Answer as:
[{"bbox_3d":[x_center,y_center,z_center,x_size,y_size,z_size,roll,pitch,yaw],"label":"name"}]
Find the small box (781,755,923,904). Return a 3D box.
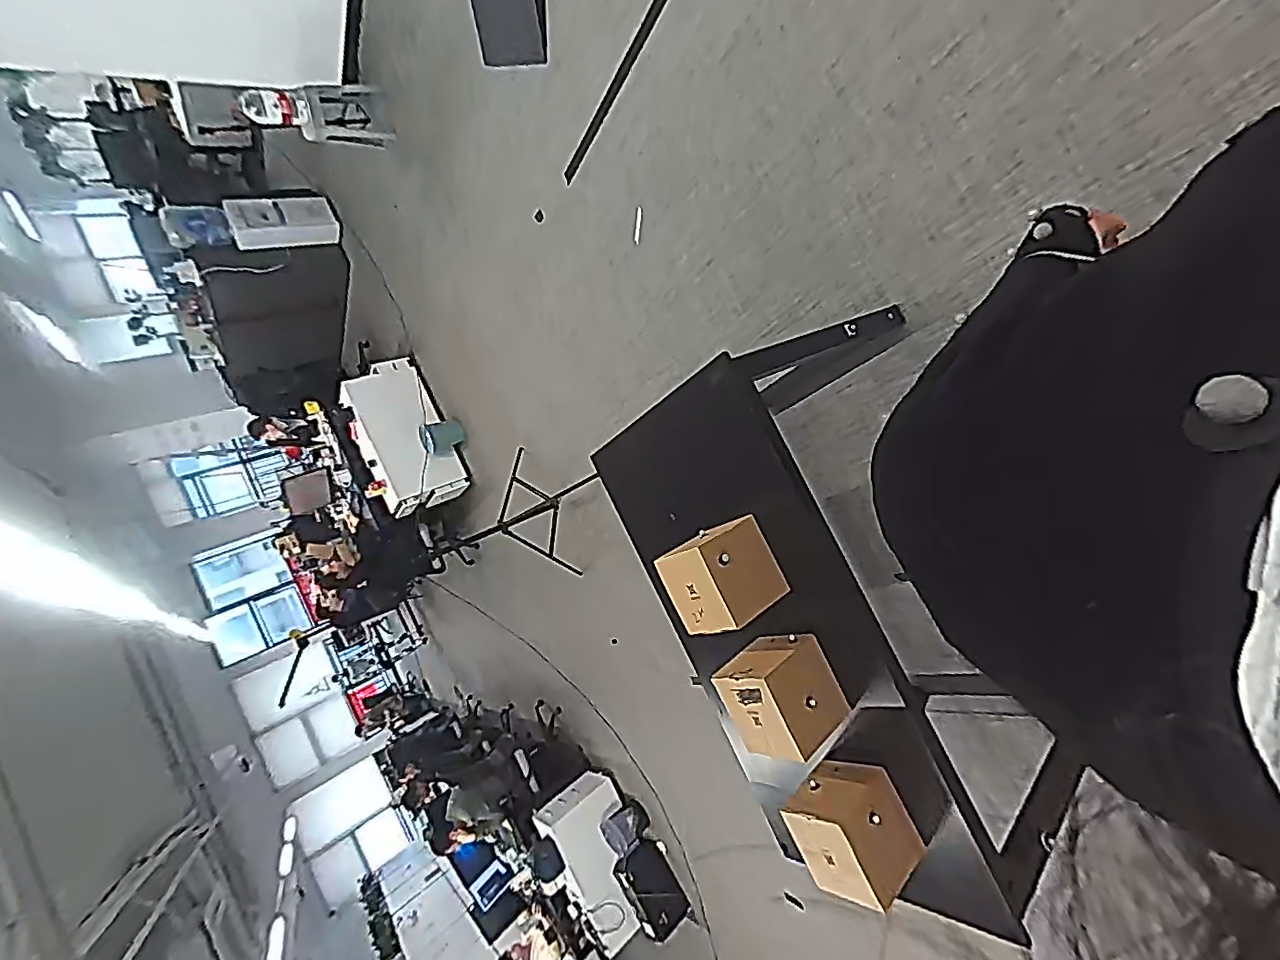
[{"bbox_3d":[0.429,0.689,1.094,0.179,0.176,0.168,62,146,5],"label":"small box"}]

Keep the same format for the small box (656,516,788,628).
[{"bbox_3d":[0.171,0.187,1.130,0.168,0.176,0.179,-32,84,56],"label":"small box"}]

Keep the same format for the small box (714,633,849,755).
[{"bbox_3d":[0.292,0.429,1.116,0.168,0.176,0.179,-29,87,56],"label":"small box"}]
